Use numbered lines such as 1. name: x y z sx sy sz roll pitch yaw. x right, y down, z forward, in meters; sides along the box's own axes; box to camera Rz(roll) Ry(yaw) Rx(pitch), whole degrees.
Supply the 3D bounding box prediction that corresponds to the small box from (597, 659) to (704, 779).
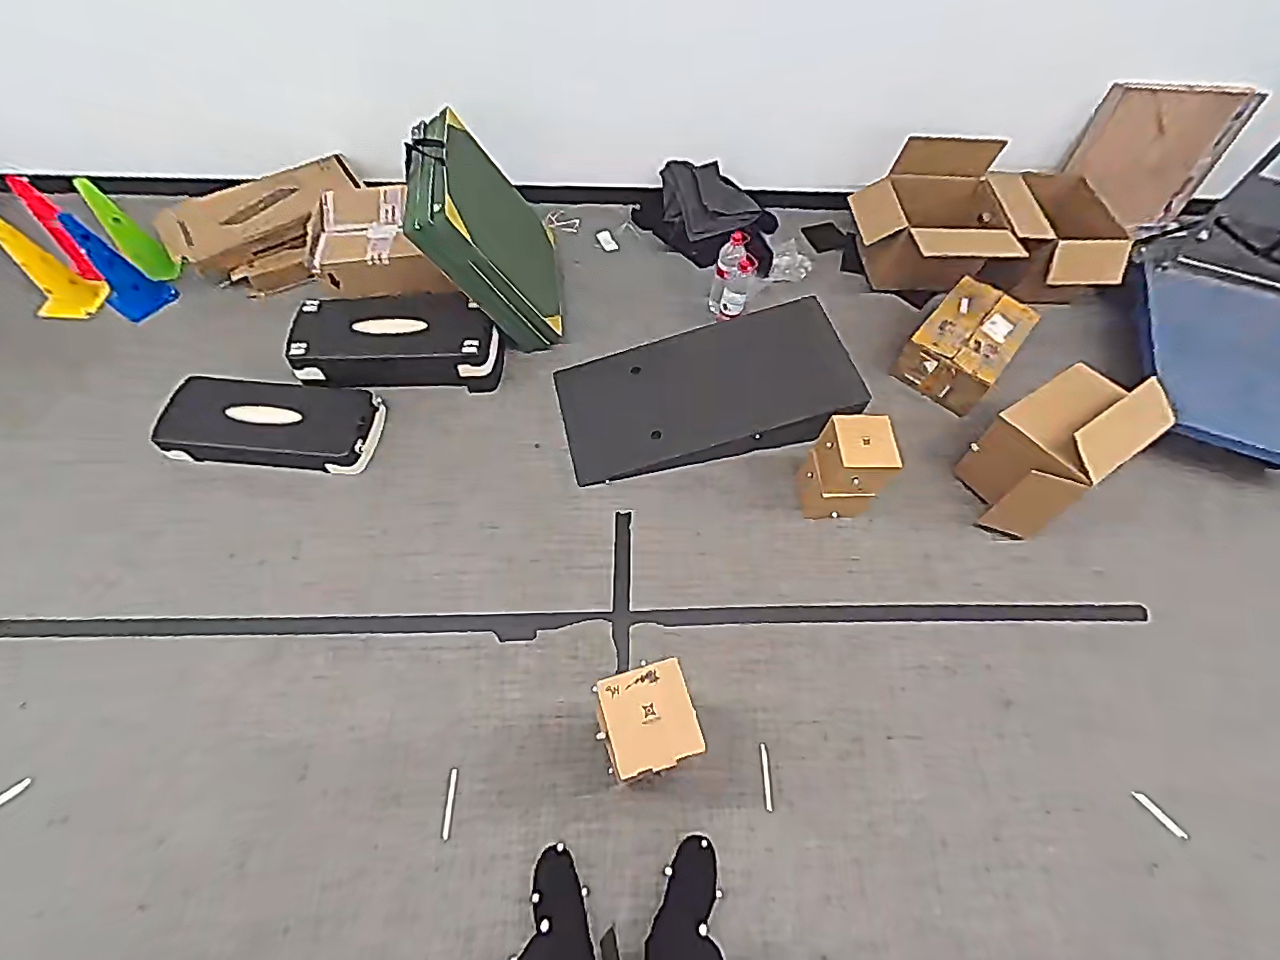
1. small box: 0.015 0.477 1.080 0.168 0.176 0.179 -13 63 -10
